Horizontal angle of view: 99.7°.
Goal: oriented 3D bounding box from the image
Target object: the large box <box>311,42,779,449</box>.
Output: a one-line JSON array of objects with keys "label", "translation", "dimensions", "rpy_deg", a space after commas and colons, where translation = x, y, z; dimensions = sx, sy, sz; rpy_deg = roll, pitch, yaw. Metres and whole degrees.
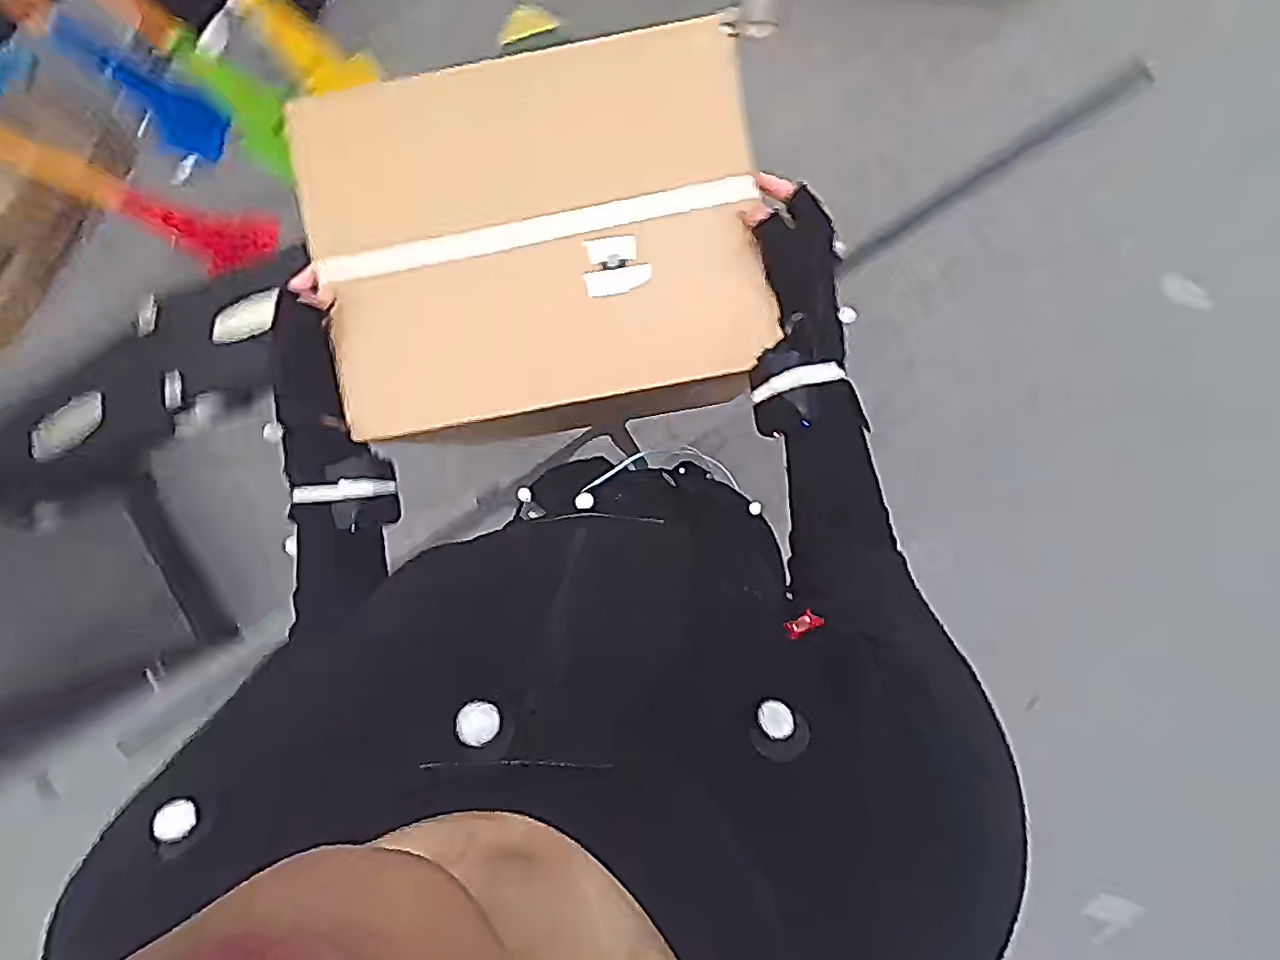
[{"label": "large box", "translation": [-0.088, -0.223, 0.651], "dimensions": [0.408, 0.320, 0.320], "rpy_deg": [-9, 93, 1]}]
